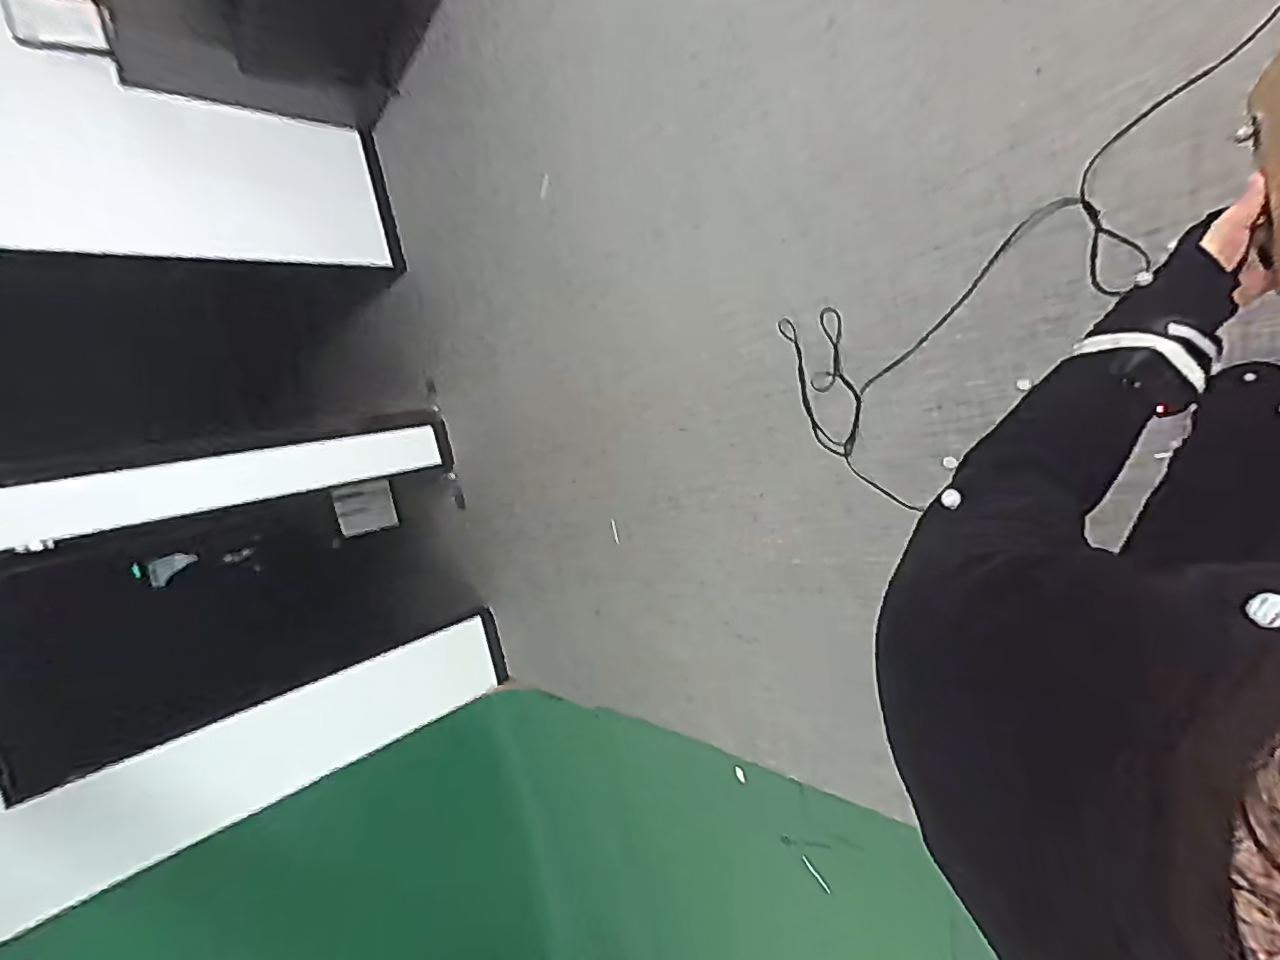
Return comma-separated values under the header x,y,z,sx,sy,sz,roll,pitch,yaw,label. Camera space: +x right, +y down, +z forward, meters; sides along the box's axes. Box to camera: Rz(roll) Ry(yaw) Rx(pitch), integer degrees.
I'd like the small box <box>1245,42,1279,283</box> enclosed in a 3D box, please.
x,y,z,sx,sy,sz,roll,pitch,yaw,label
0.521,-0.231,0.332,0.179,0.176,0.168,-11,97,39,small box
